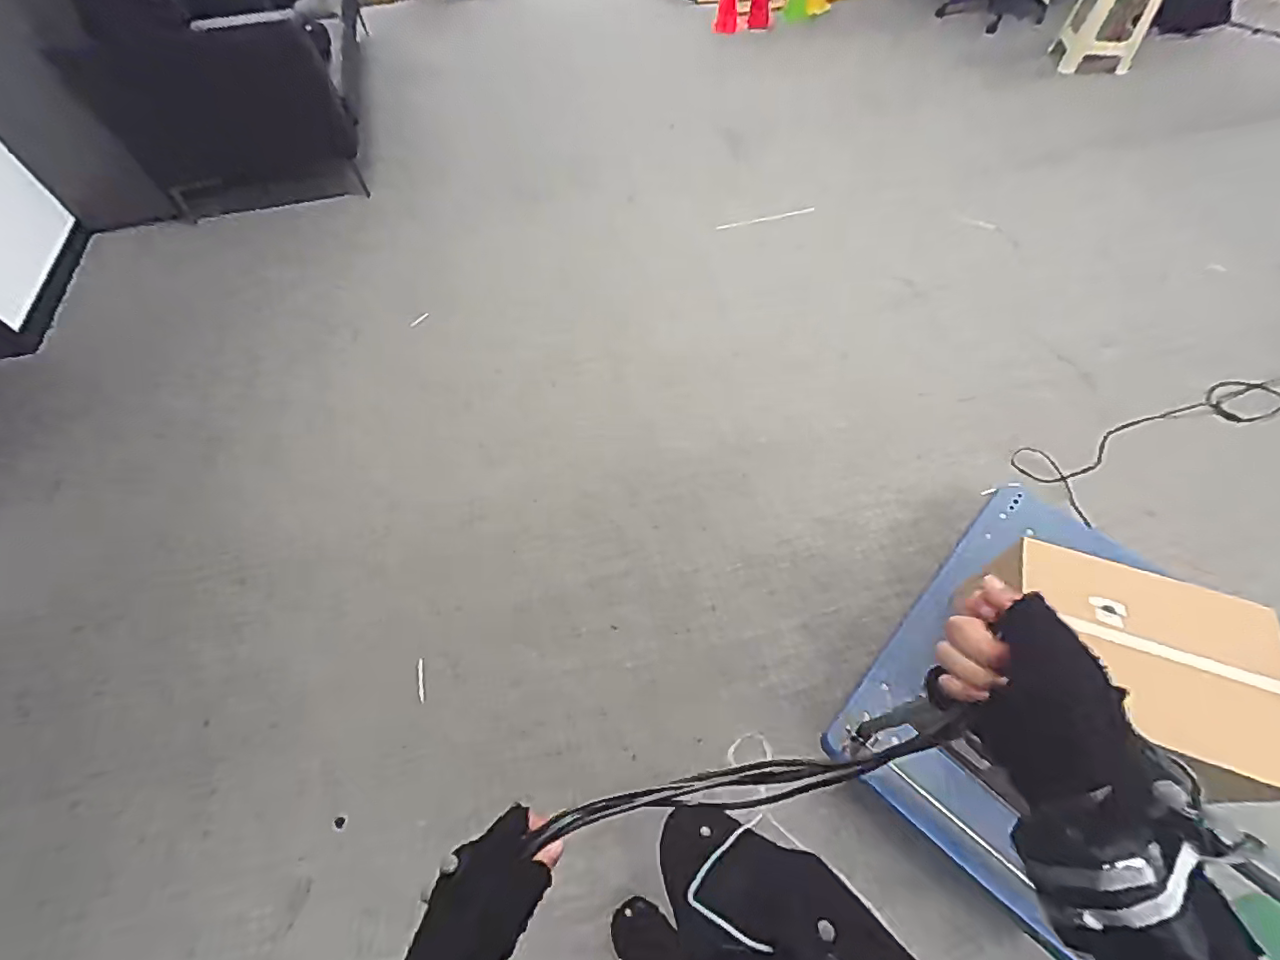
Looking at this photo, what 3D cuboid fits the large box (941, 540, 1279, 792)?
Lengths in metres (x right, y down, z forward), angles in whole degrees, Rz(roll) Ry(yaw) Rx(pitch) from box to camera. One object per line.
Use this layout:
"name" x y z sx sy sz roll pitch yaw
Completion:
"large box" 0.869 0.366 1.051 0.408 0.320 0.320 17 60 14
